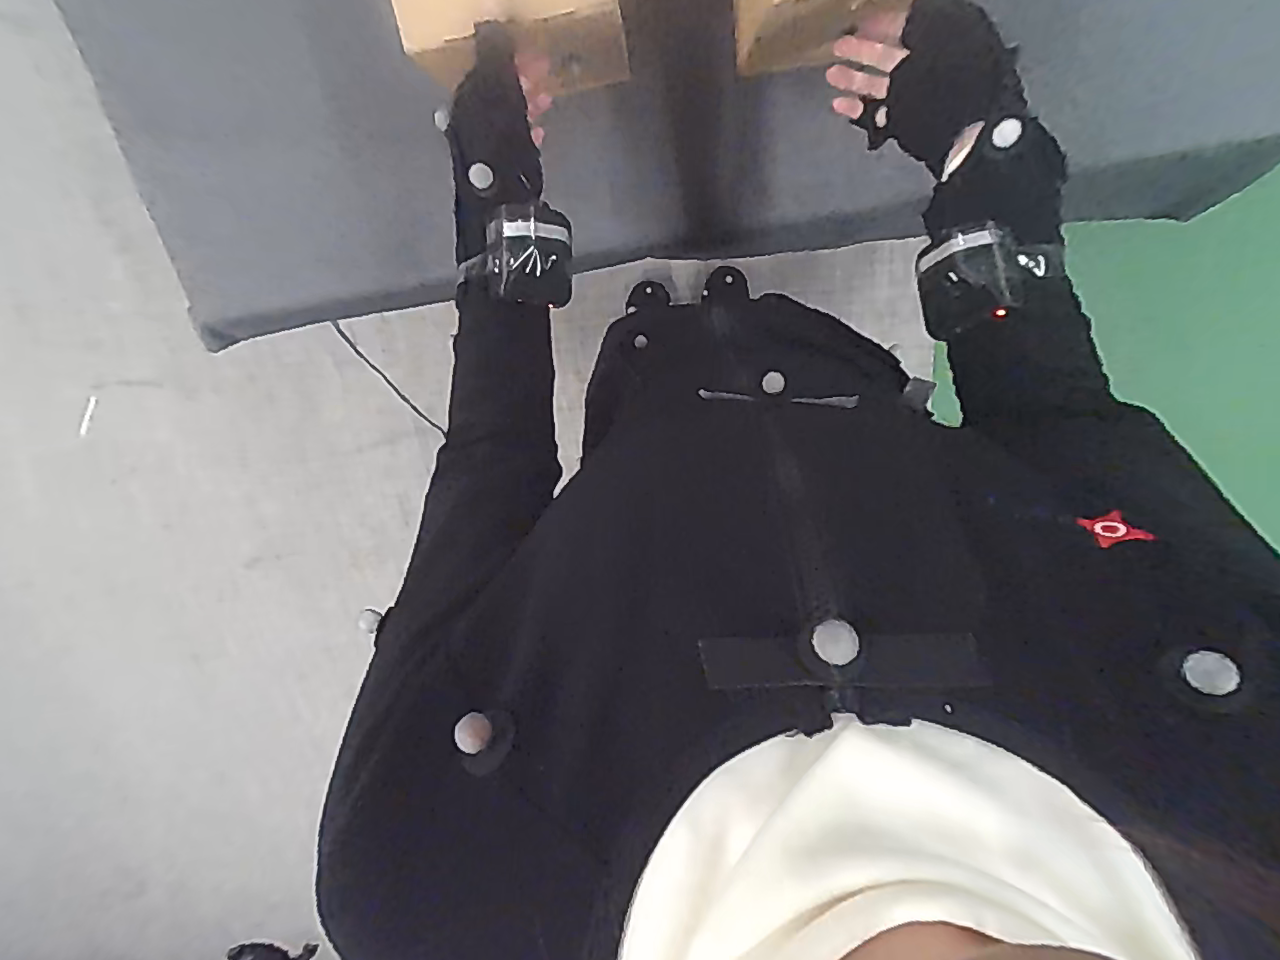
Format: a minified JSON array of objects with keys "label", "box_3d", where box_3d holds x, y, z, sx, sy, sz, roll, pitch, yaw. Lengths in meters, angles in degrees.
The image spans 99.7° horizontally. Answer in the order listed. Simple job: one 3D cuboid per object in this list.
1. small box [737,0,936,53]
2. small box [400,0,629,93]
[{"label":"small box","box_3d":[0.166,-0.470,0.424,0.168,0.176,0.179,-7,112,4]},{"label":"small box","box_3d":[-0.105,-0.449,0.444,0.168,0.176,0.179,-10,110,5]}]
